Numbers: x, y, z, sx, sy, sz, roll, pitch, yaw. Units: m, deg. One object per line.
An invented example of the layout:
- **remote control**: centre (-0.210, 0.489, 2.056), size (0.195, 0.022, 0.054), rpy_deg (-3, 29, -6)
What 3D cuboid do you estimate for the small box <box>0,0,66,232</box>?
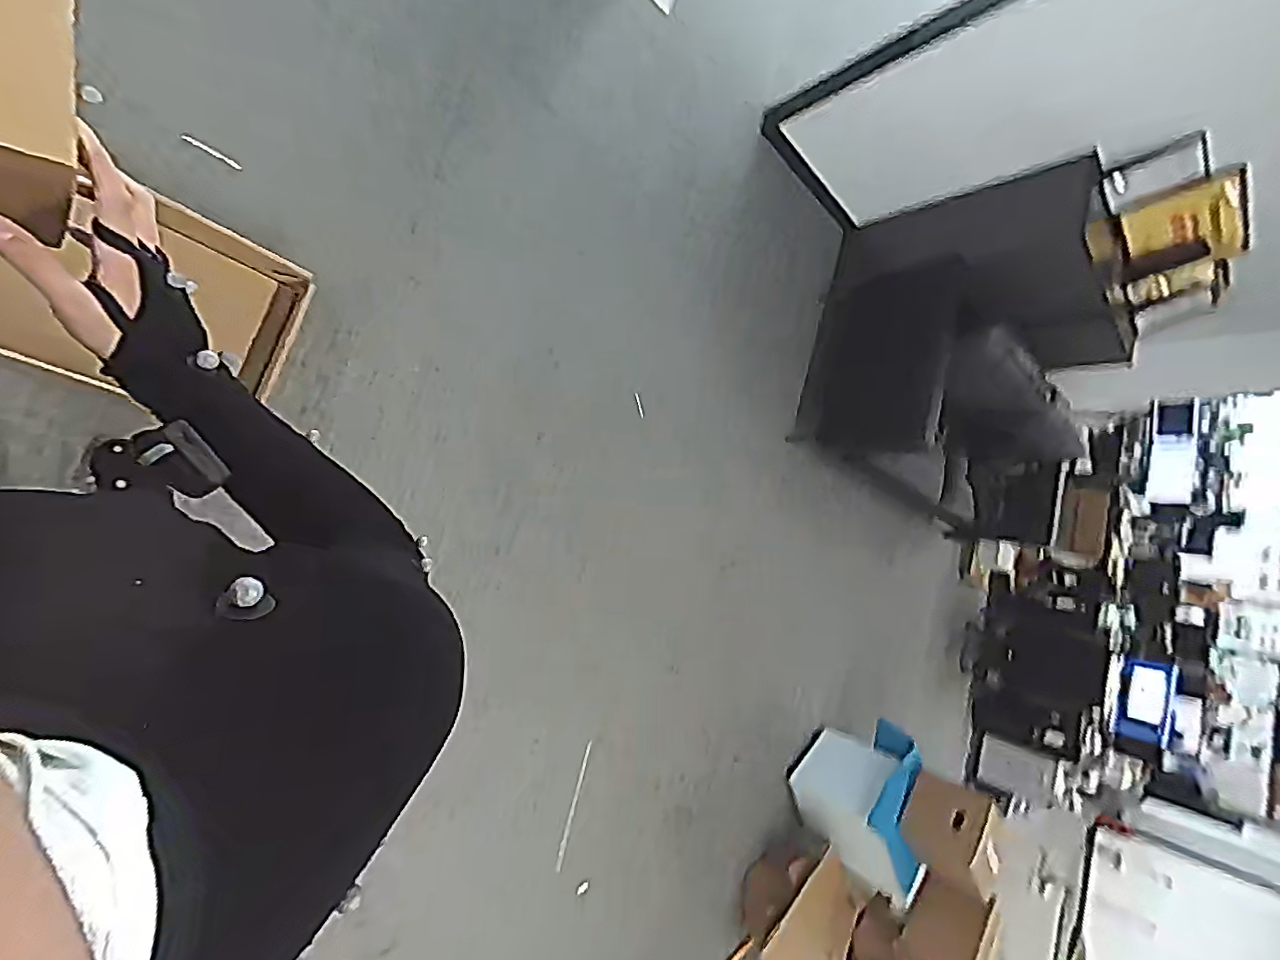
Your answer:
- **small box**: centre (-0.487, -0.287, 0.342), size (0.168, 0.176, 0.179), rpy_deg (-2, 88, -51)
